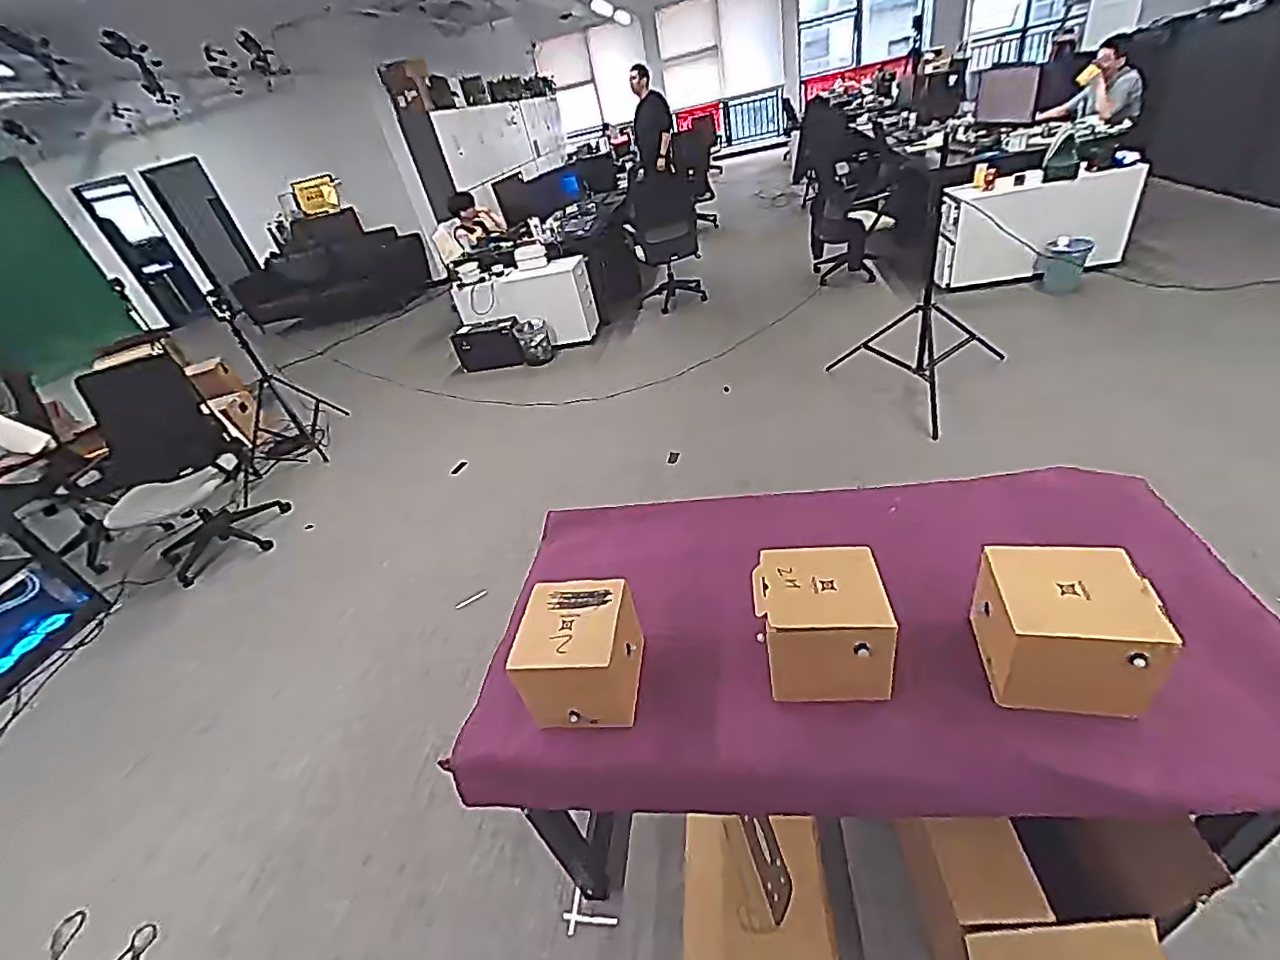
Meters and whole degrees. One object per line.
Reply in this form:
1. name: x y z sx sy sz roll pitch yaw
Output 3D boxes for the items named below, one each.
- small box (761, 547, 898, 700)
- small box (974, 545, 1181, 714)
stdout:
1. small box: 0.288 0.228 0.853 0.179 0.176 0.168 -6 33 12
2. small box: 0.596 0.211 0.771 0.179 0.176 0.168 -1 37 17
